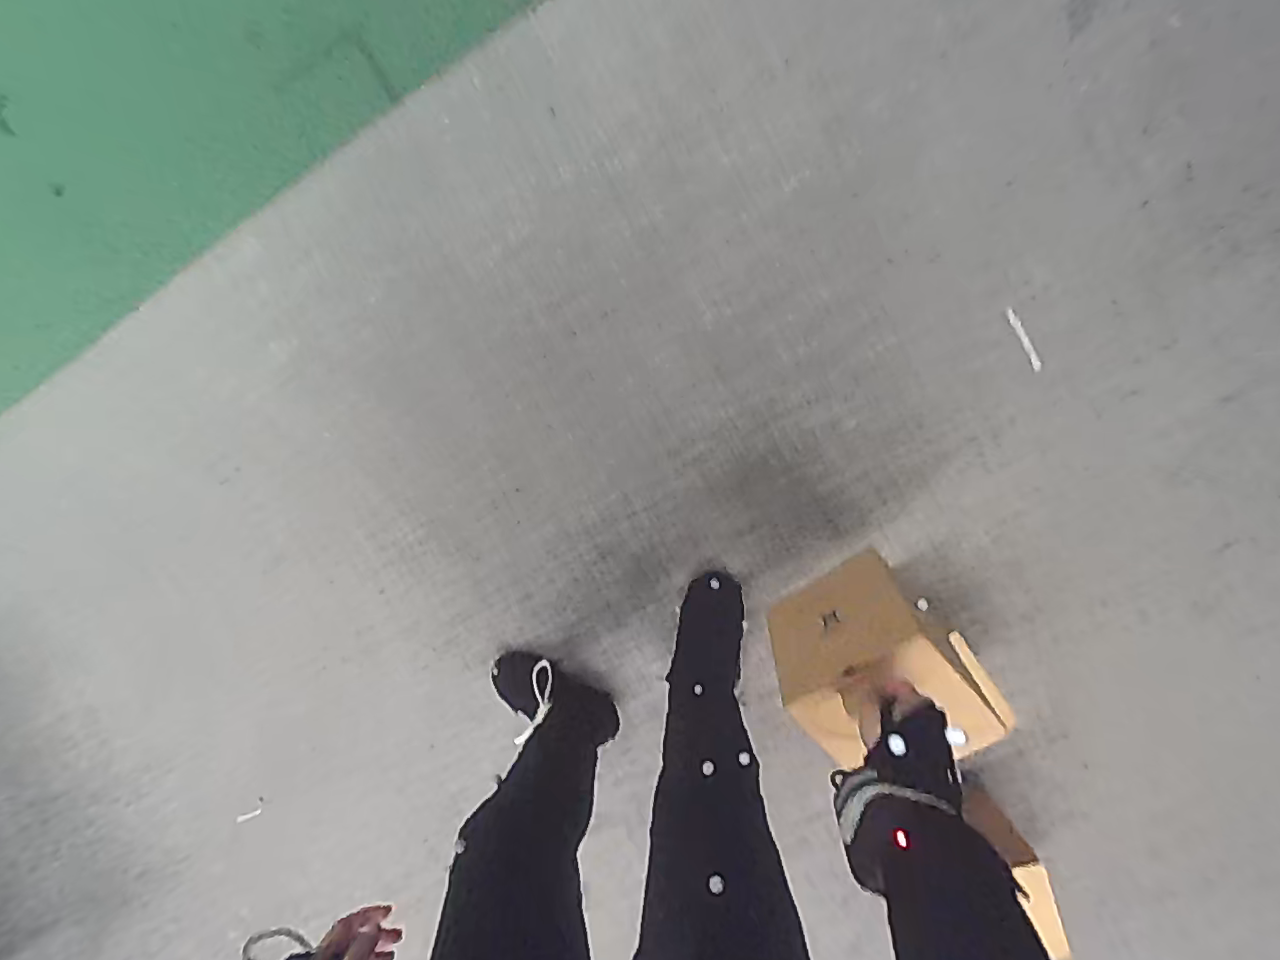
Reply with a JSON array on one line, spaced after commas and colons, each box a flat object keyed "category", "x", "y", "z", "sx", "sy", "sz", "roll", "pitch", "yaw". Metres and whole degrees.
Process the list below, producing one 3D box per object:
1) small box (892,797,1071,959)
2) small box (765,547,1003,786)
[{"category": "small box", "x": 0.549, "y": 0.661, "z": 0.892, "sx": 0.179, "sy": 0.176, "sz": 0.168, "roll": -18, "pitch": 95, "yaw": 9}, {"category": "small box", "x": 0.272, "y": 0.219, "z": 0.629, "sx": 0.168, "sy": 0.179, "sz": 0.176, "roll": -39, "pitch": 105, "yaw": 19}]
